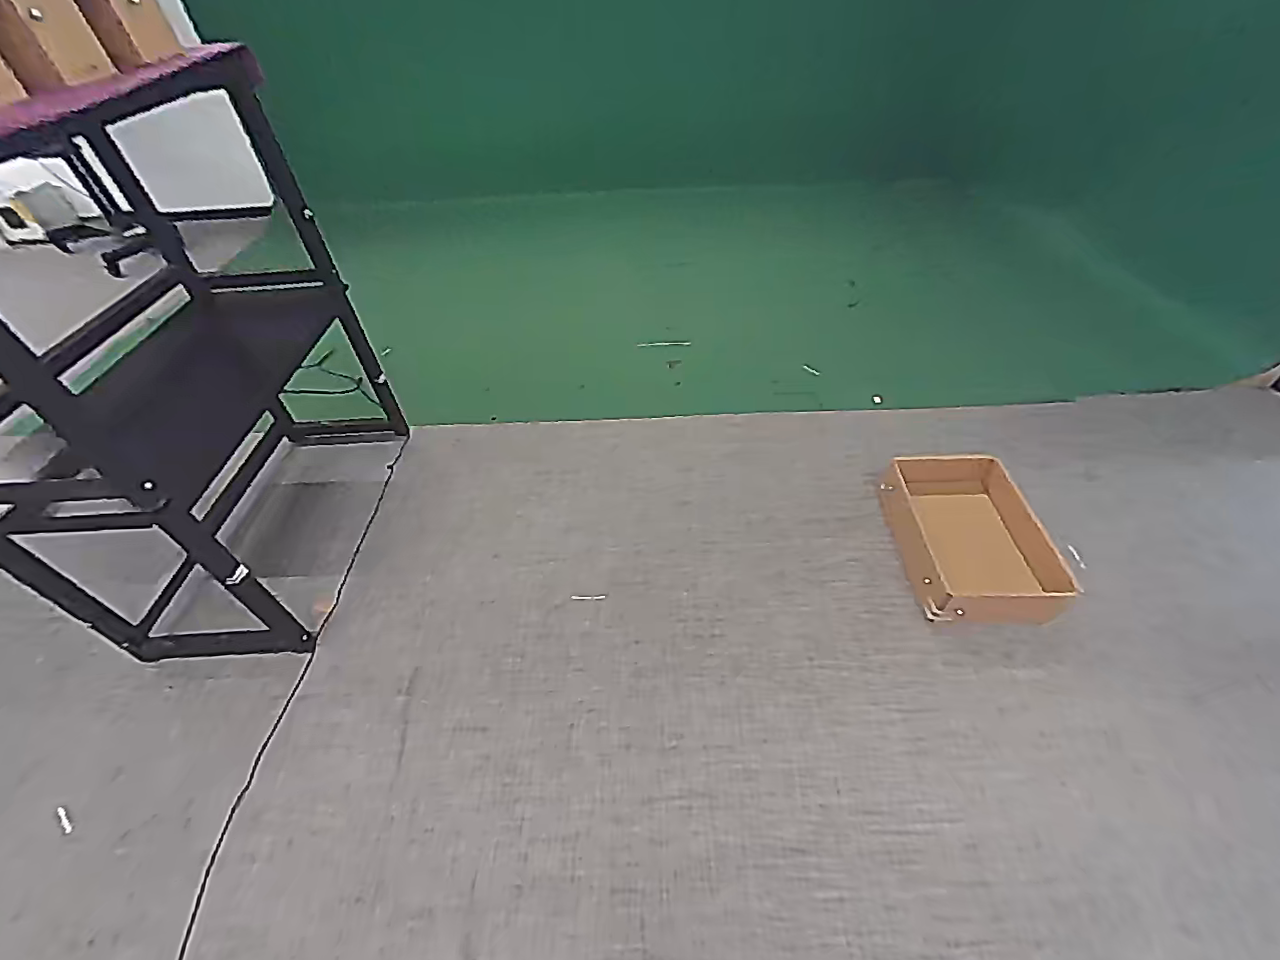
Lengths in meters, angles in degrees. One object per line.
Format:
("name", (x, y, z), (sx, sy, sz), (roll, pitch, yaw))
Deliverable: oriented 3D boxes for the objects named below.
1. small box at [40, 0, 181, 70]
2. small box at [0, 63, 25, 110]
("small box", (-1.337, -1.162, 1.377), (0.168, 0.176, 0.179), (-3, 46, 2))
("small box", (-1.327, -0.768, 0.990), (0.179, 0.176, 0.168), (-2, 45, 3))
